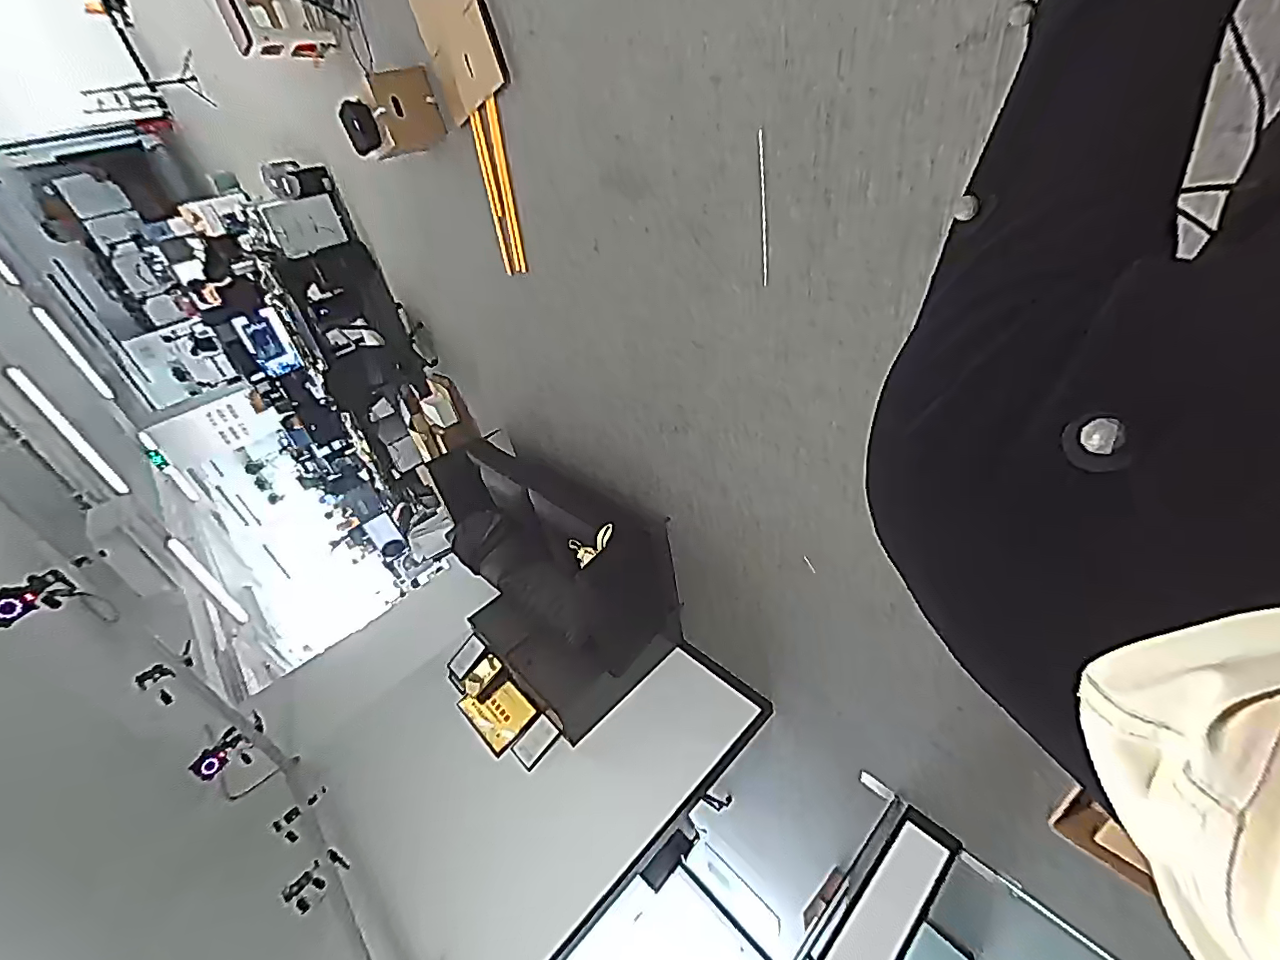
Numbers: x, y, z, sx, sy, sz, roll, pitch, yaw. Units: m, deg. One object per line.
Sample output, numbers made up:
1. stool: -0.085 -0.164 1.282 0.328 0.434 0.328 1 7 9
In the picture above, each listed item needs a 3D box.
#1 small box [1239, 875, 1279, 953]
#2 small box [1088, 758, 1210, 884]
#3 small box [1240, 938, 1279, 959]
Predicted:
1. small box: 1.485 1.011 1.185 0.168 0.176 0.179 27 141 38
2. small box: 1.252 0.830 1.330 0.168 0.176 0.179 27 142 40
3. small box: 1.370 1.094 1.105 0.168 0.176 0.179 29 142 36
